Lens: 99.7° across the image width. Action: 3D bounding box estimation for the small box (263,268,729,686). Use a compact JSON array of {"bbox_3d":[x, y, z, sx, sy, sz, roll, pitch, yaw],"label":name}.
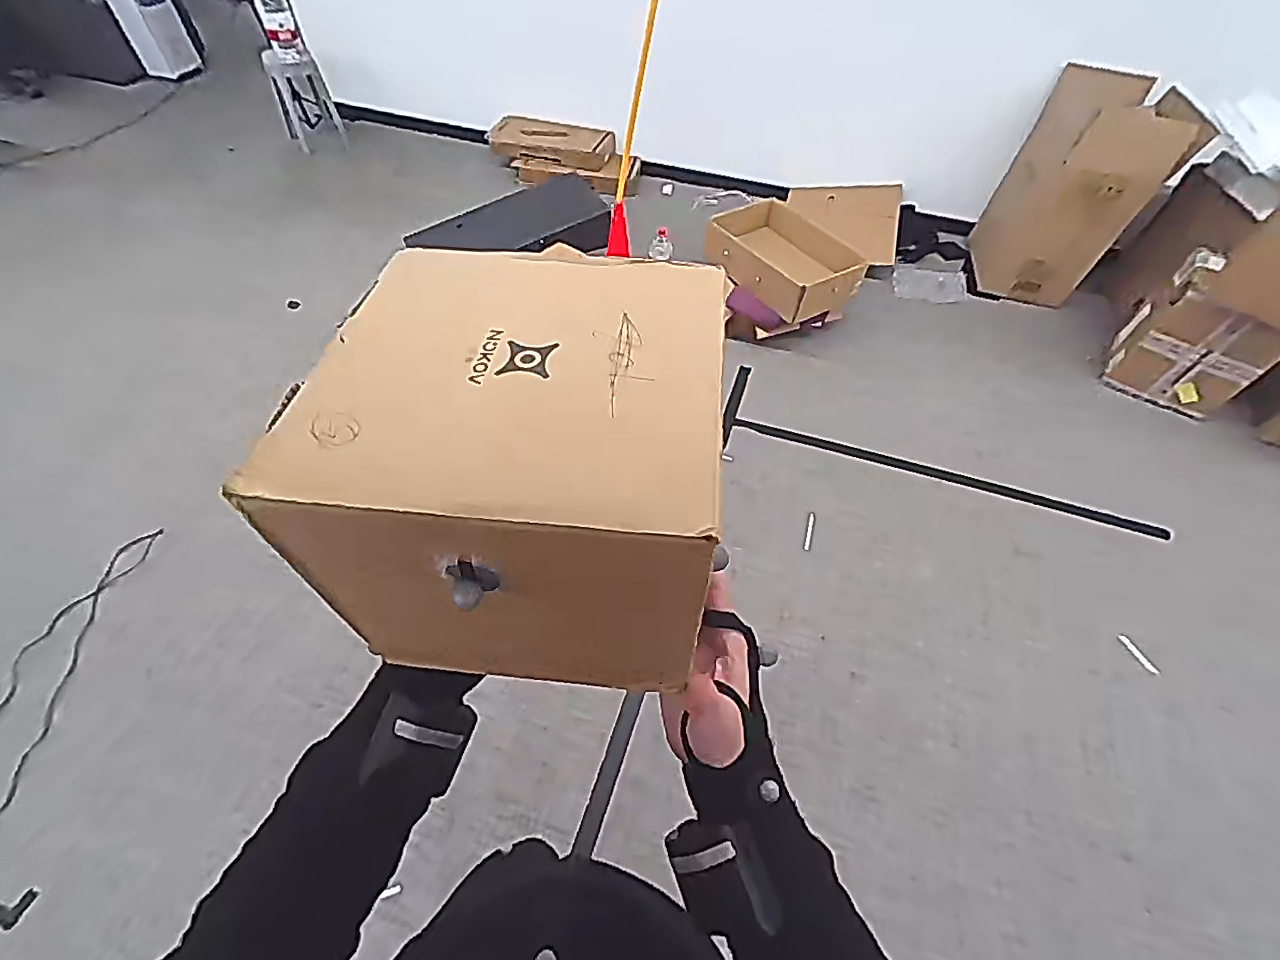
[{"bbox_3d":[-0.048,0.004,0.306,0.179,0.176,0.168,5,53,3],"label":"small box"}]
